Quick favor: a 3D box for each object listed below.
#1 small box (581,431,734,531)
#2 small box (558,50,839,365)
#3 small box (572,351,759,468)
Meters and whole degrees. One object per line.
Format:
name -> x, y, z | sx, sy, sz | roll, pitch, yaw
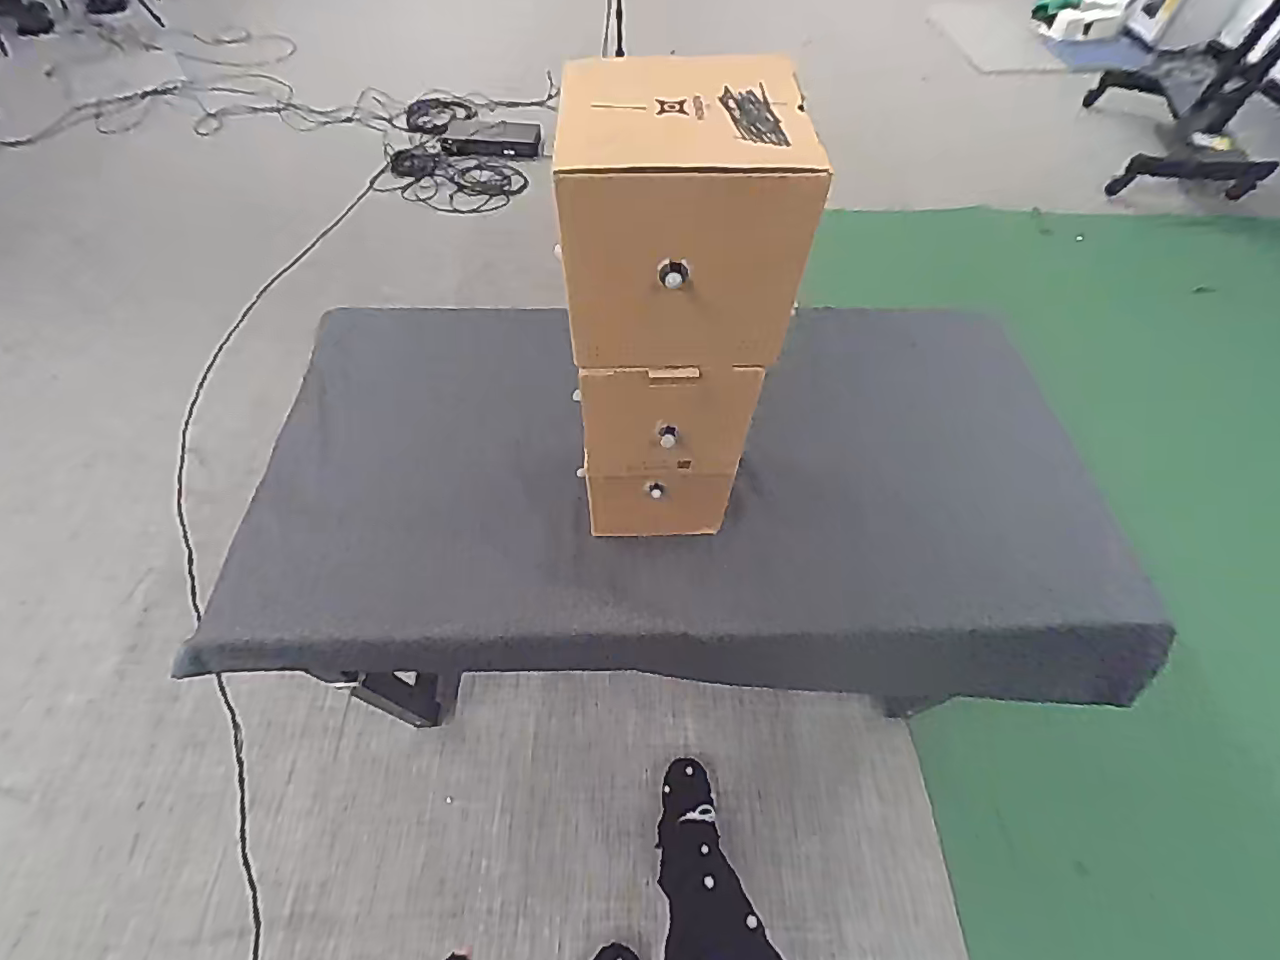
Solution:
small box -> 0.017, -0.040, 0.717 | 0.179, 0.176, 0.168 | -1, 58, -3
small box -> 0.029, -0.208, 0.435 | 0.179, 0.176, 0.168 | -3, 58, -4
small box -> 0.020, -0.123, 0.576 | 0.168, 0.176, 0.179 | -2, 58, -2
